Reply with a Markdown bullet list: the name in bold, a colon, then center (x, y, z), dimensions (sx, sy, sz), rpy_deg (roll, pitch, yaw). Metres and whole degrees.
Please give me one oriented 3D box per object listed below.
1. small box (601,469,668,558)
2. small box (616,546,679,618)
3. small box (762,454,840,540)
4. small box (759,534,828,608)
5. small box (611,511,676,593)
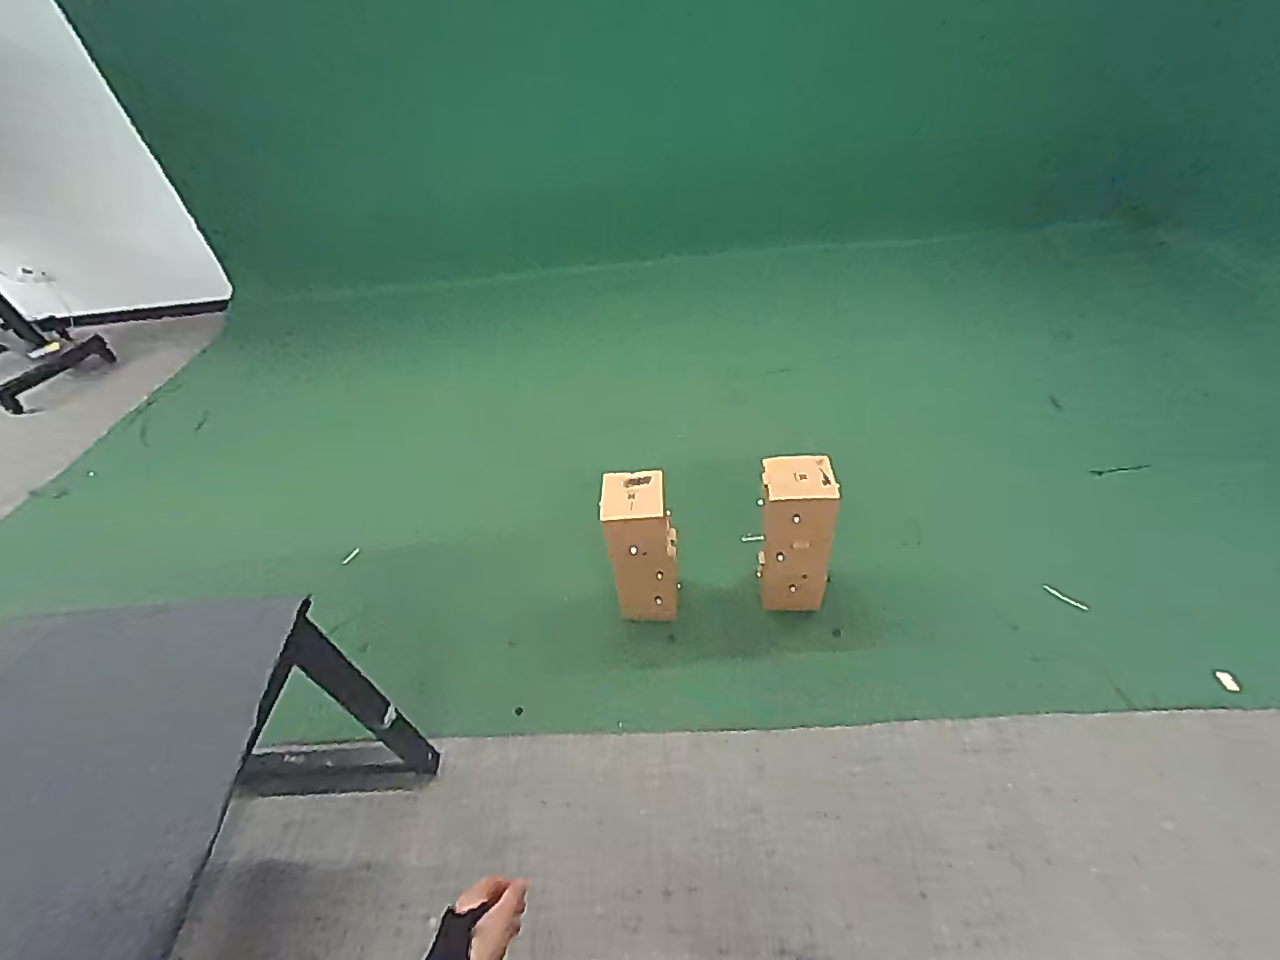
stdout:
- **small box**: center (-0.010, 0.092, 1.479), dimensions (0.168, 0.176, 0.179), rpy_deg (-4, 44, 4)
- **small box**: center (0.031, 0.322, 1.708), dimensions (0.179, 0.176, 0.168), rpy_deg (0, 44, 9)
- **small box**: center (0.427, 0.048, 1.461), dimensions (0.179, 0.176, 0.168), rpy_deg (-3, 43, 7)
- **small box**: center (0.471, 0.285, 1.685), dimensions (0.179, 0.176, 0.168), rpy_deg (-2, 44, 7)
- **small box**: center (0.013, 0.213, 1.588), dimensions (0.179, 0.176, 0.168), rpy_deg (-6, 43, 3)
